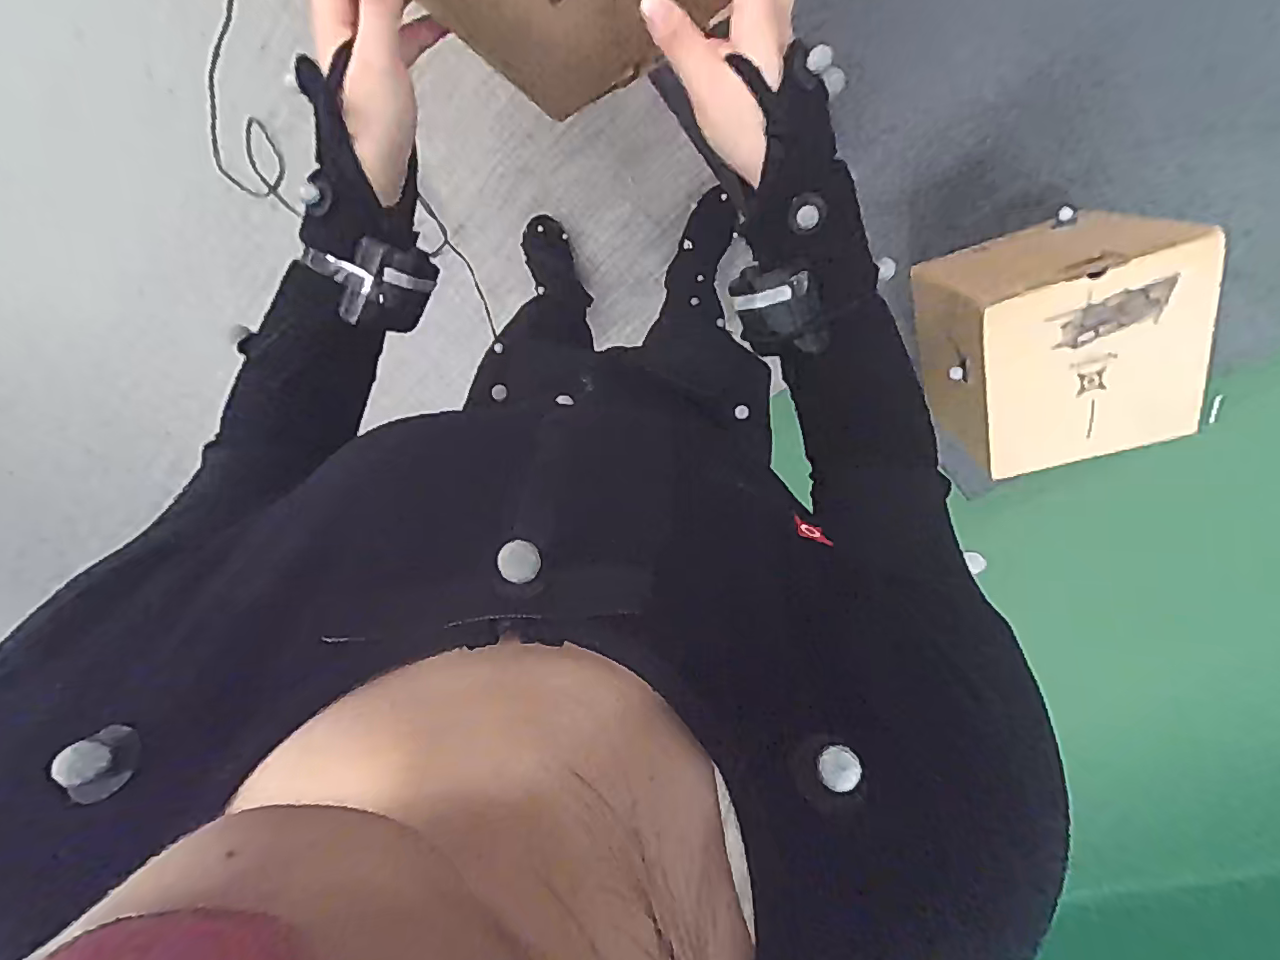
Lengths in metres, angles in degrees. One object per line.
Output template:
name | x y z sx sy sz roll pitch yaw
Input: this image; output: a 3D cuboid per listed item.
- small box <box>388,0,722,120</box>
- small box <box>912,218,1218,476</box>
small box | -0.063 -0.370 0.311 0.168 0.179 0.176 -6 81 37
small box | 0.379 -0.135 0.519 0.168 0.176 0.179 -15 119 15
